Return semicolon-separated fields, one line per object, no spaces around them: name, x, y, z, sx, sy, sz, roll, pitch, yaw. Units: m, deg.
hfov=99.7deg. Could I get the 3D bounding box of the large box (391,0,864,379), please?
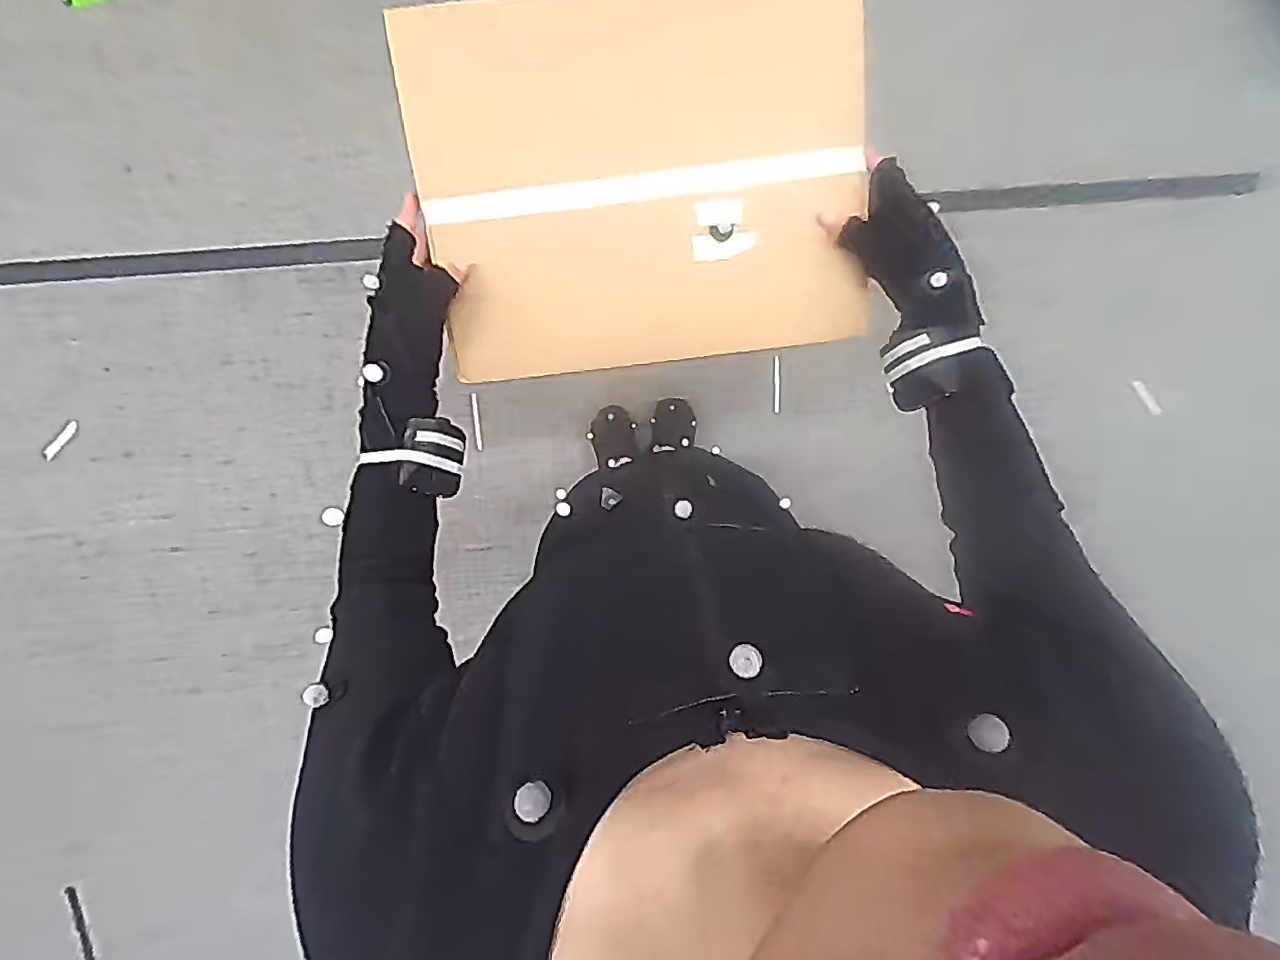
large box;-0.004;-0.307;0.634;0.408;0.320;0.320;-7;105;-1
